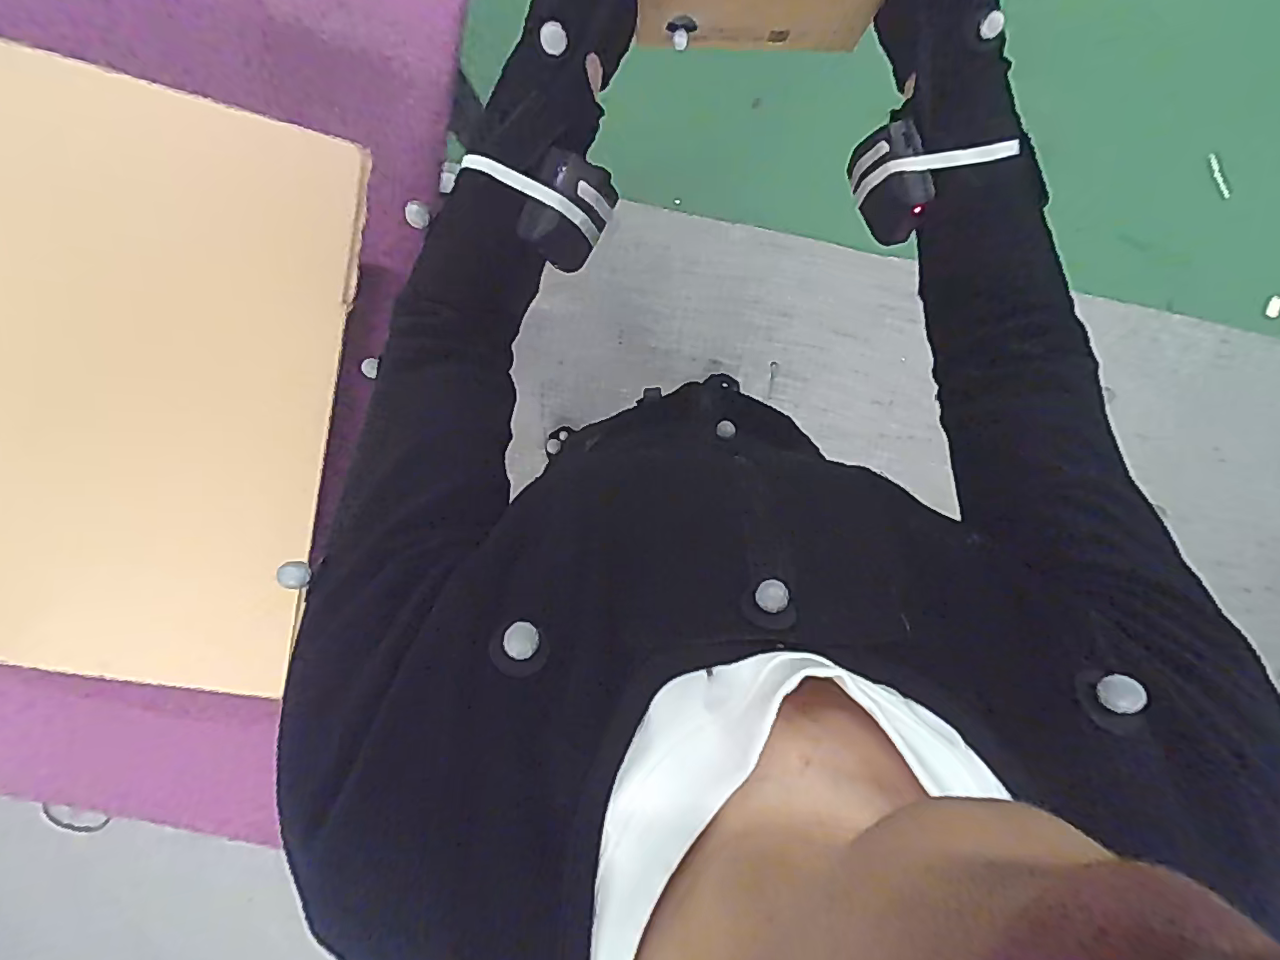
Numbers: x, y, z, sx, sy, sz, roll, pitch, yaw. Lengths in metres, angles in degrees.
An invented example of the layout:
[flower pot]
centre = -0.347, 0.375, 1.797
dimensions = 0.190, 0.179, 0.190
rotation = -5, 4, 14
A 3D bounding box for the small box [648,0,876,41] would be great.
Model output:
[small box]
centre = 0.086, -0.400, 0.316
dimensions = 0.168, 0.176, 0.179
rotation = 2, 102, 0
